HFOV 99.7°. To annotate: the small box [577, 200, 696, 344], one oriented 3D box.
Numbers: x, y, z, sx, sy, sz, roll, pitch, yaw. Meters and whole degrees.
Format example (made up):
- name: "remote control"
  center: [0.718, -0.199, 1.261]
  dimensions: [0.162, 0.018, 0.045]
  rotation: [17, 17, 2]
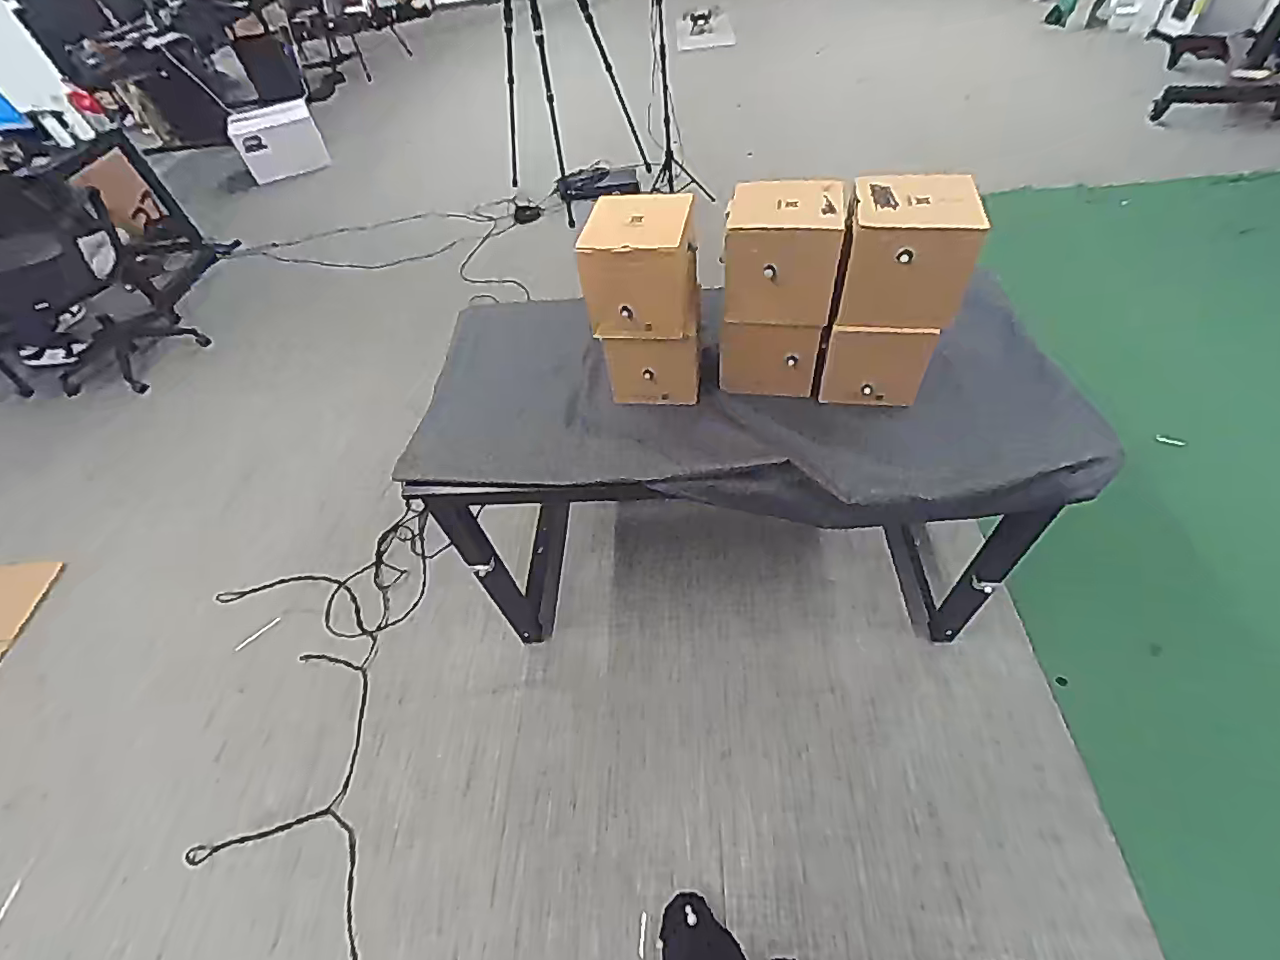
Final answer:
- name: "small box"
  center: [0.005, -0.359, 0.935]
  dimensions: [0.168, 0.176, 0.179]
  rotation: [4, 53, 12]
